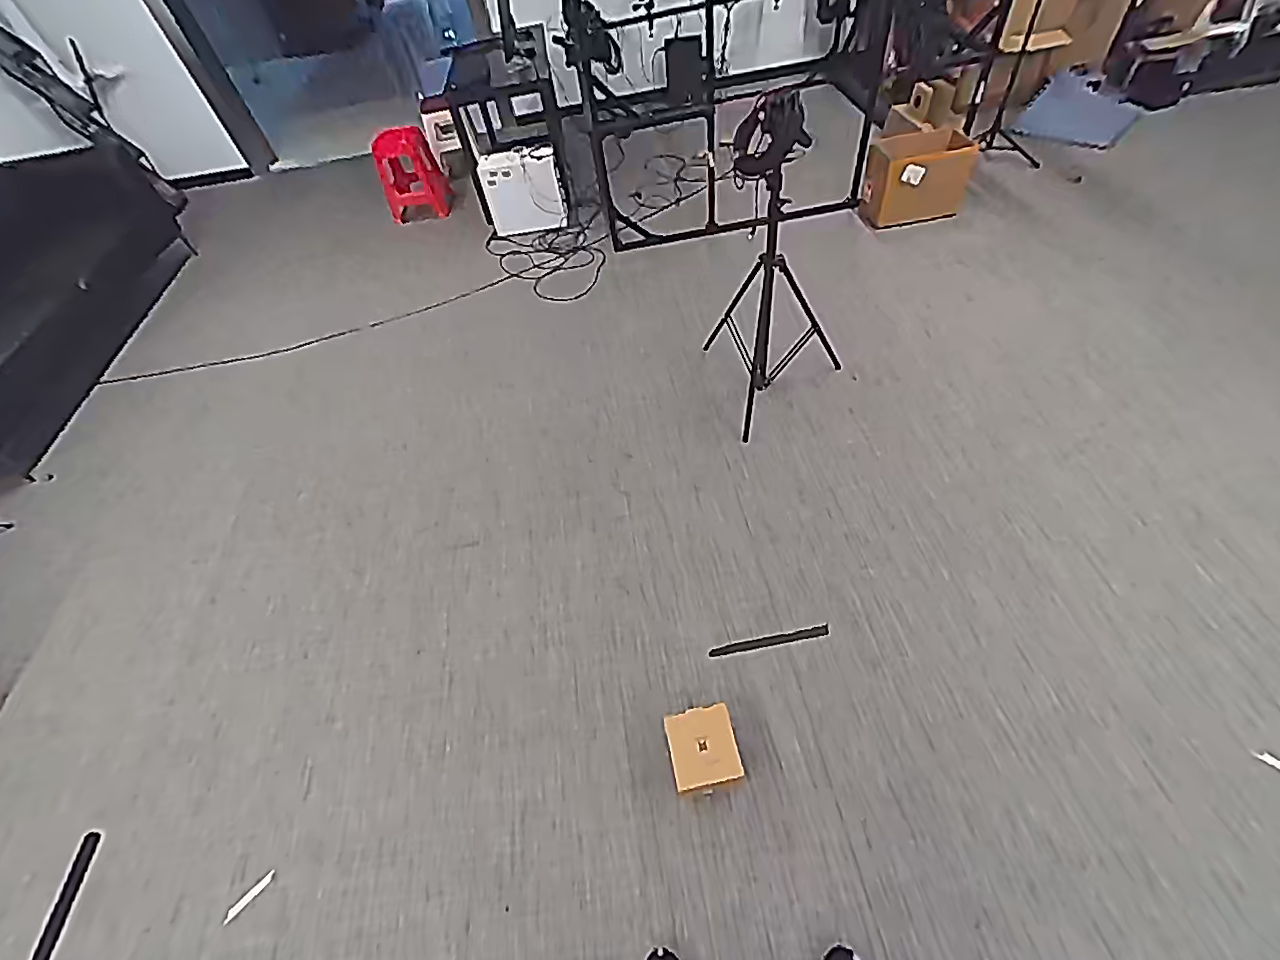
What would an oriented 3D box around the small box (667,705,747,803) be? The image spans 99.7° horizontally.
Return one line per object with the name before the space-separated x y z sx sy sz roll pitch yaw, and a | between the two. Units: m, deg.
small box | 0.171 0.711 1.399 0.168 0.176 0.179 -13 51 0
